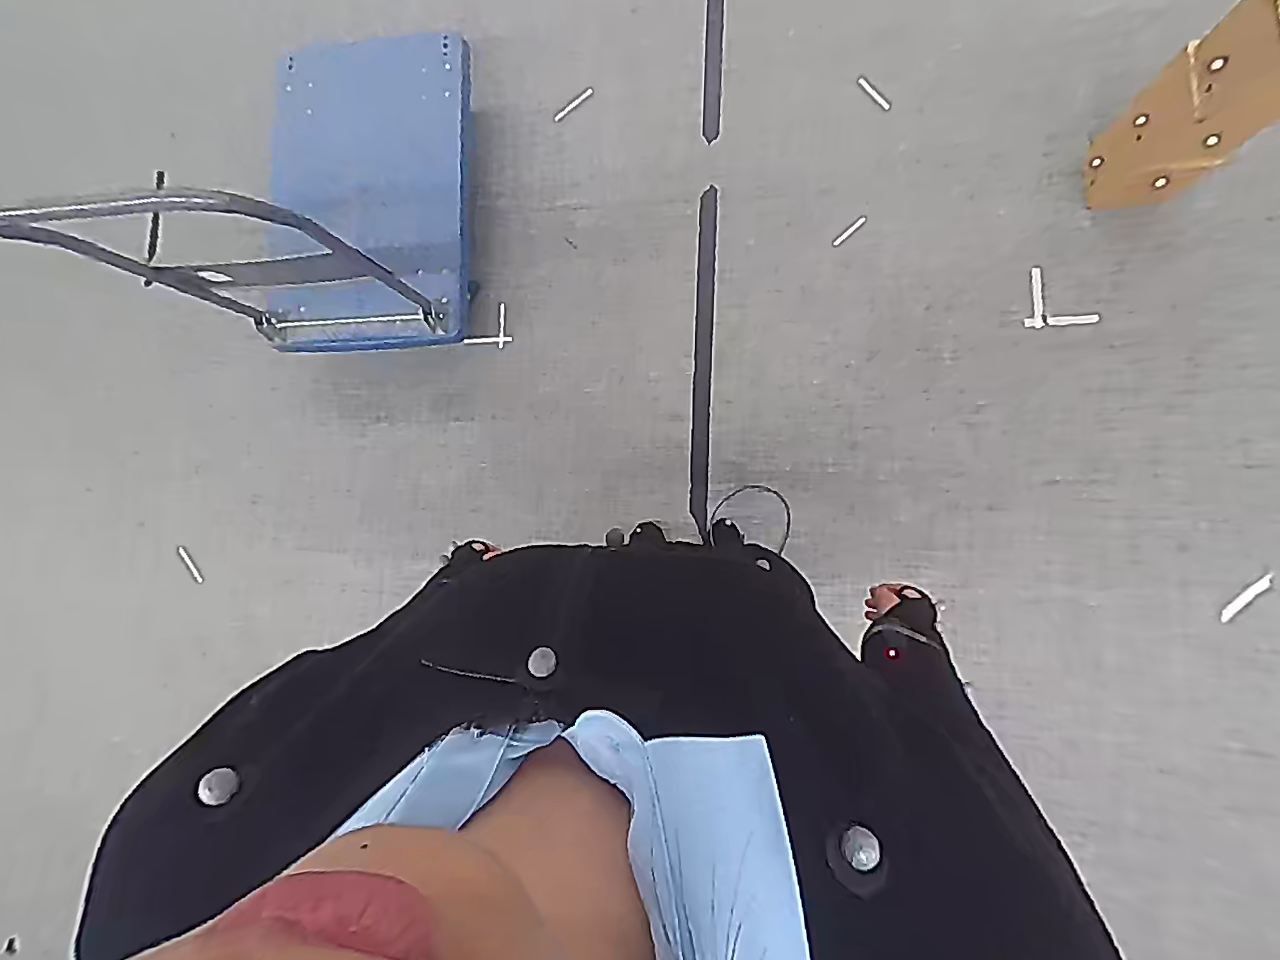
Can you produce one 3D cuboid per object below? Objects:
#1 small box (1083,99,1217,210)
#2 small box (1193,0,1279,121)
[{"bbox_3d":[1.236,-0.789,1.323,0.179,0.176,0.168,-1,86,9],"label":"small box"},{"bbox_3d":[1.195,-0.806,0.996,0.179,0.176,0.168,-5,85,9],"label":"small box"}]
